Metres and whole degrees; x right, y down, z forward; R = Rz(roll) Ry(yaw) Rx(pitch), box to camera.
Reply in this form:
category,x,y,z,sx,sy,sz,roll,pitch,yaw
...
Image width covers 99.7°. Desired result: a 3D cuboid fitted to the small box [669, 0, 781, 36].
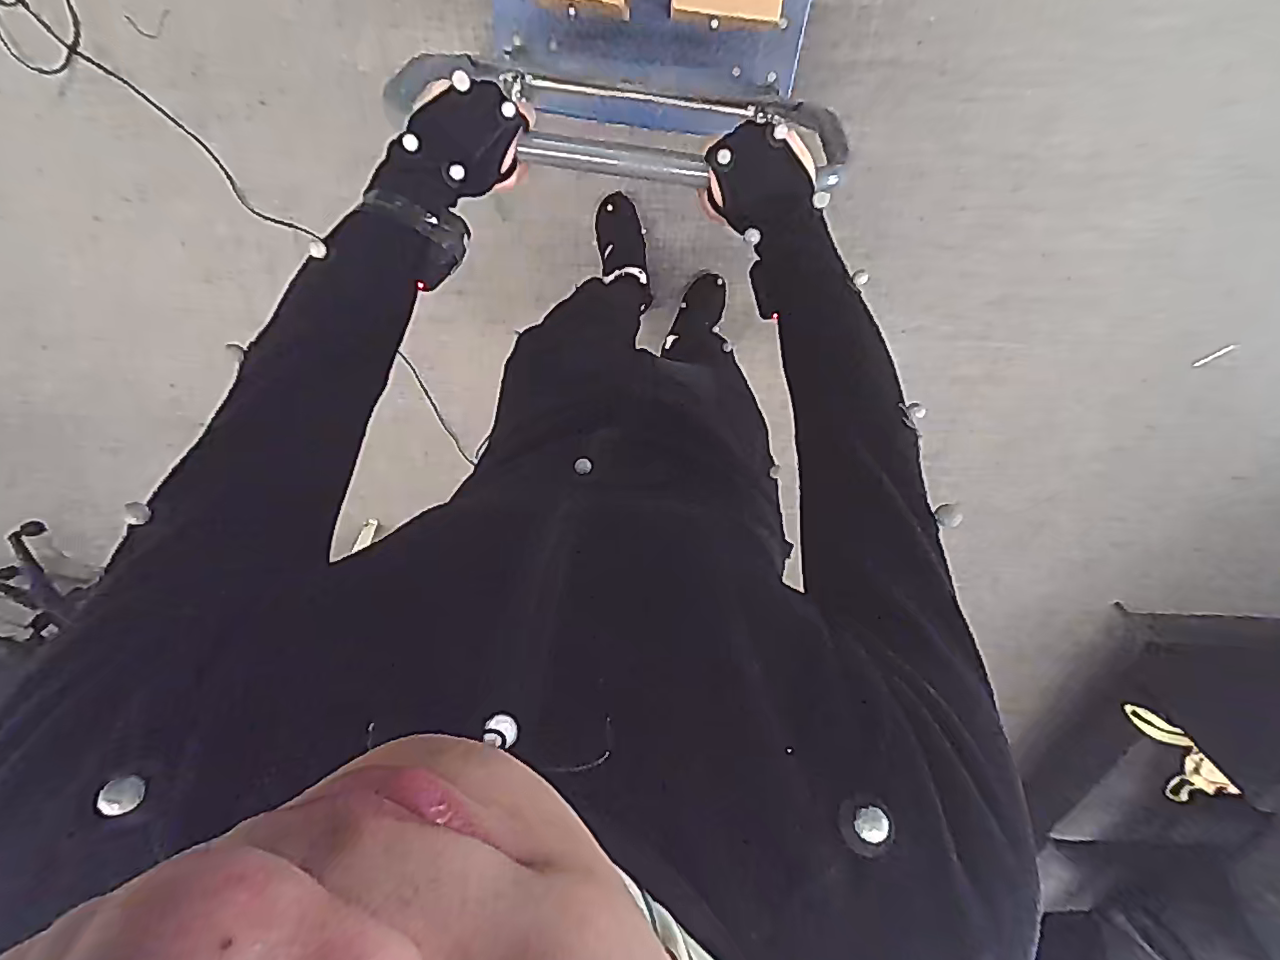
category,x,y,z,sx,sy,sz,roll,pitch,yaw
small box,0.143,-0.845,0.882,0.179,0.176,0.168,6,125,-2

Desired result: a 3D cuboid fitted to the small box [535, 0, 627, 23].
category,x,y,z,sx,sy,sz,roll,pitch,yaw
small box,-0.097,-0.873,0.874,0.168,0.176,0.179,7,126,-4
